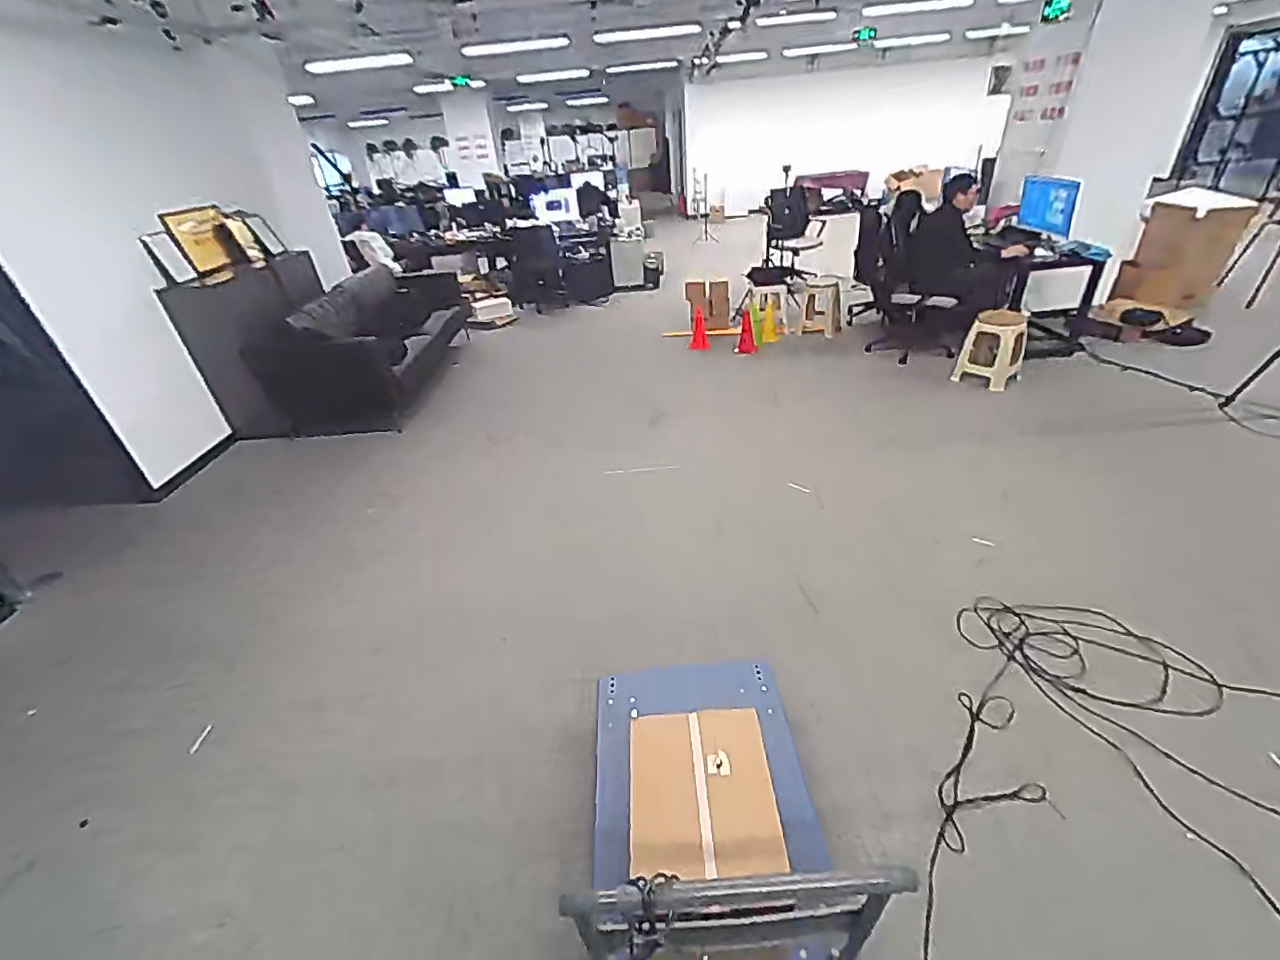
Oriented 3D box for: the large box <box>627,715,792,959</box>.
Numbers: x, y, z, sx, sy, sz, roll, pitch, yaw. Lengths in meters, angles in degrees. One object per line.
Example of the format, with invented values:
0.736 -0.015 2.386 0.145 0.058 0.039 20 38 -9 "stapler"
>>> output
0.141 0.825 1.248 0.320 0.320 0.408 -4 31 1 "large box"
